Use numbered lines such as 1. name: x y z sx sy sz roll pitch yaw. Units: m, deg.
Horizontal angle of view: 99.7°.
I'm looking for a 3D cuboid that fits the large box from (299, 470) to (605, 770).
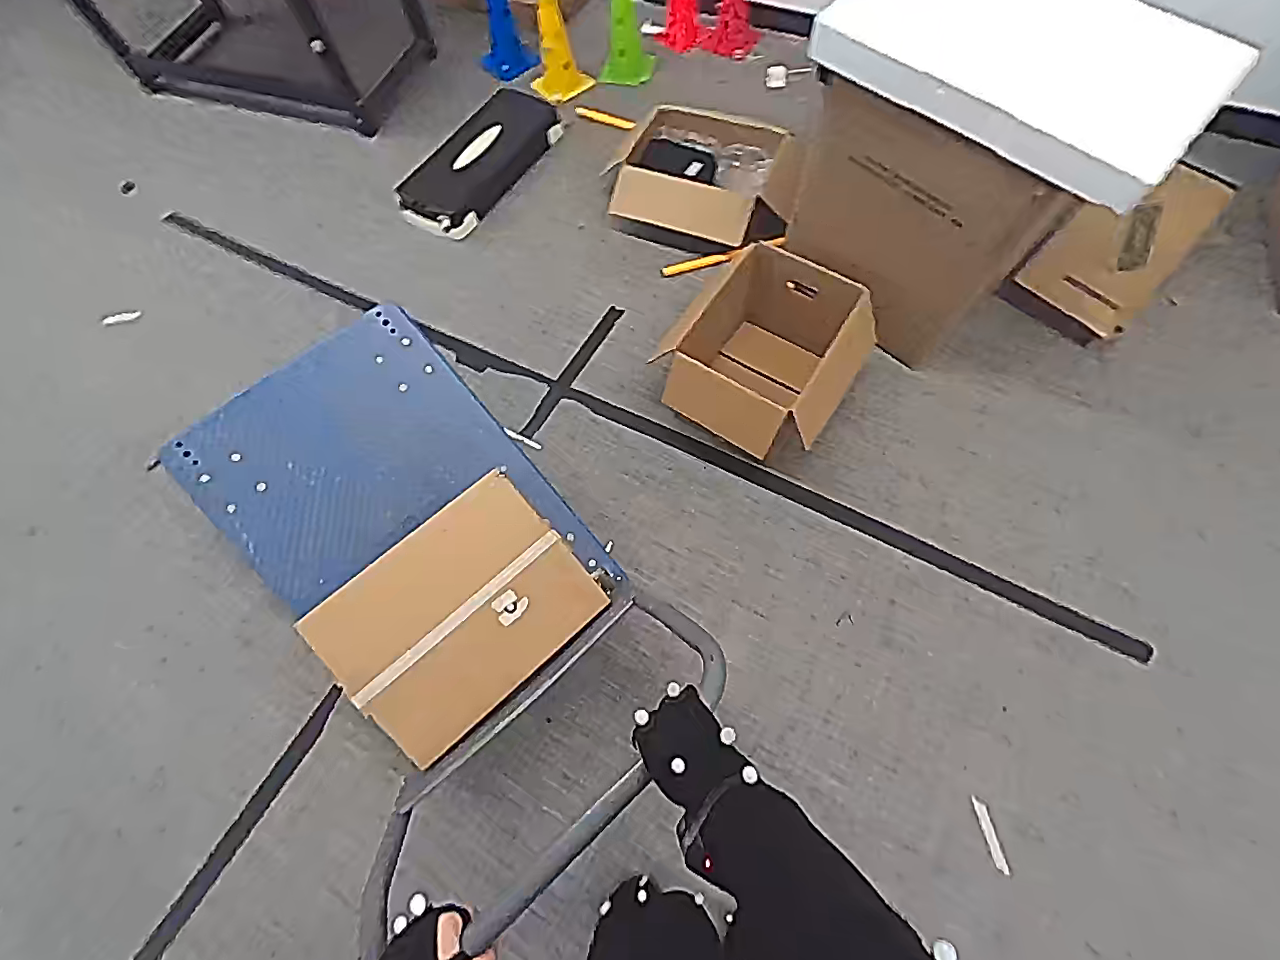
1. large box: -0.331 0.244 1.044 0.408 0.320 0.320 -41 93 -15
